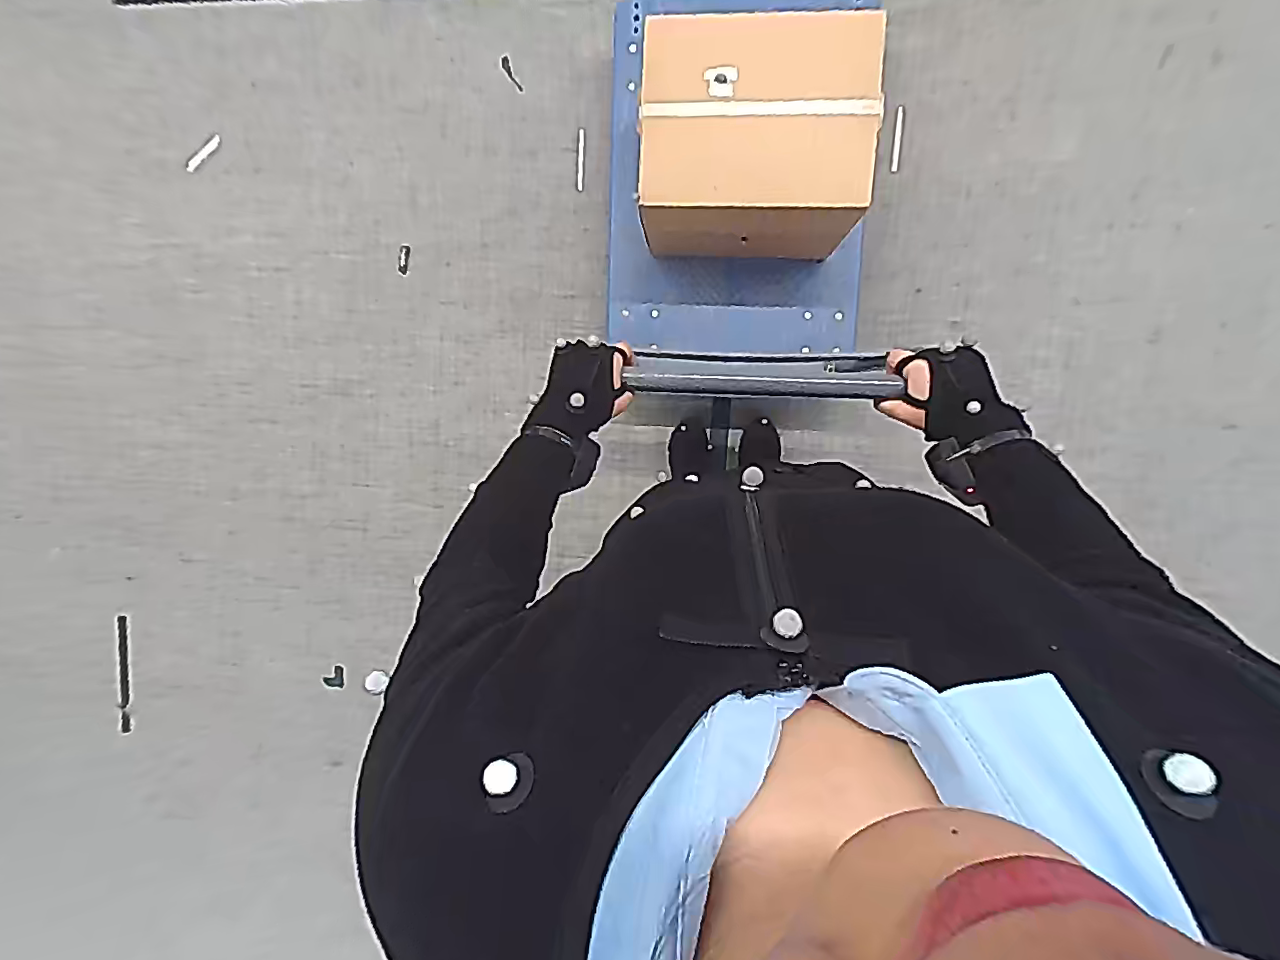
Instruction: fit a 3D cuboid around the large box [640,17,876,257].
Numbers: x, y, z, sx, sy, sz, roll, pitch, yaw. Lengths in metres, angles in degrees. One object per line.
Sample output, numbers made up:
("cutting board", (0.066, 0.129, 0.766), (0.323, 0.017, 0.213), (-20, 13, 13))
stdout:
("large box", (0.220, -0.654, 1.098), (0.408, 0.320, 0.320), (3, 96, 6))
